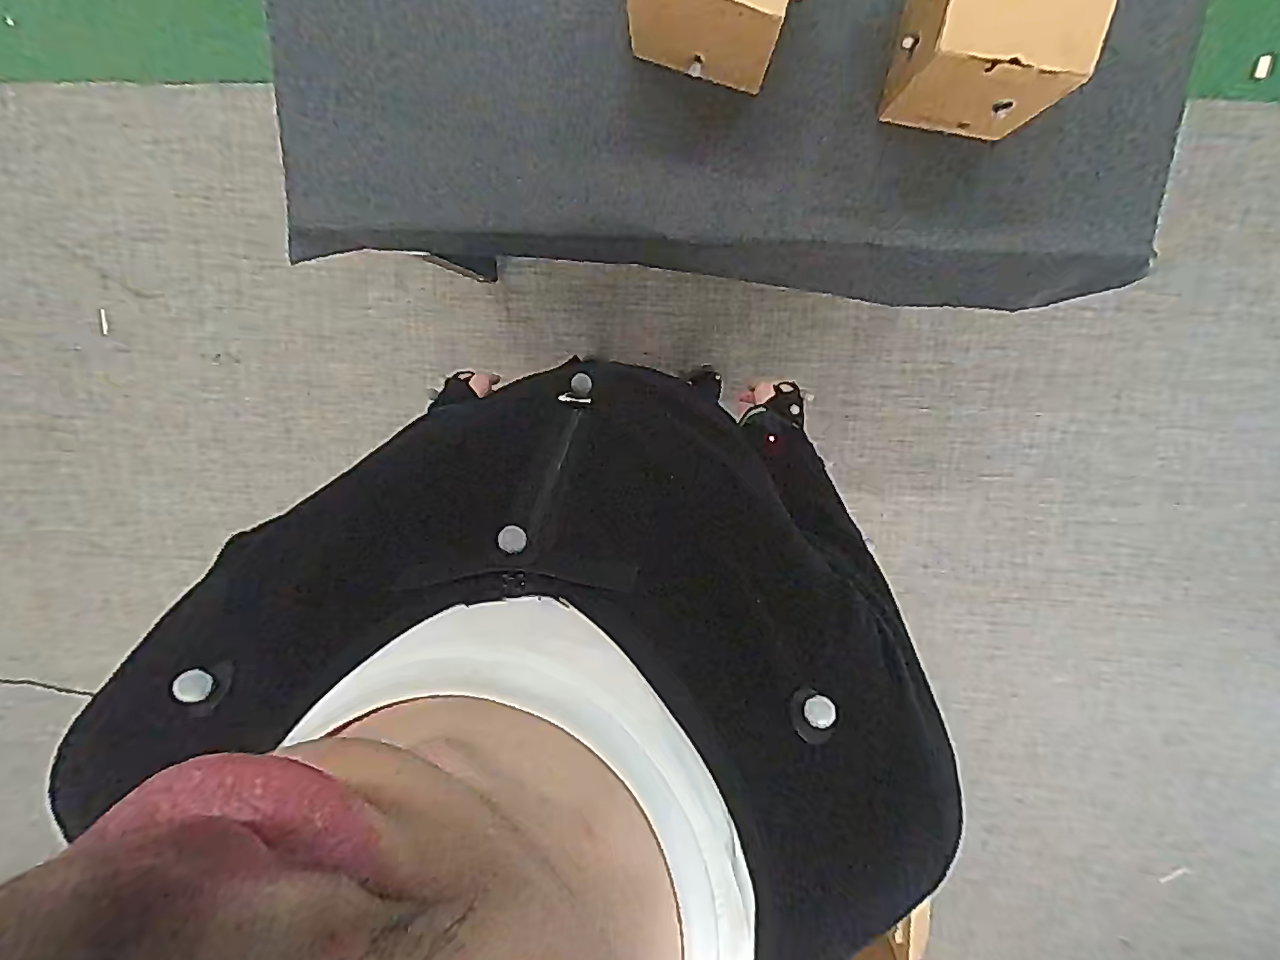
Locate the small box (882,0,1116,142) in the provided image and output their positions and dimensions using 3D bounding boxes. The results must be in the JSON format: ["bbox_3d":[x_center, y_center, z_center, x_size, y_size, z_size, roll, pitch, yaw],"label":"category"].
[{"bbox_3d":[0.405,-0.524,0.623,0.168,0.176,0.179,11,101,-2],"label":"small box"}]

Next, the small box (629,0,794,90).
[{"bbox_3d":[0.094,-0.591,0.621,0.179,0.176,0.168,17,101,-2],"label":"small box"}]
